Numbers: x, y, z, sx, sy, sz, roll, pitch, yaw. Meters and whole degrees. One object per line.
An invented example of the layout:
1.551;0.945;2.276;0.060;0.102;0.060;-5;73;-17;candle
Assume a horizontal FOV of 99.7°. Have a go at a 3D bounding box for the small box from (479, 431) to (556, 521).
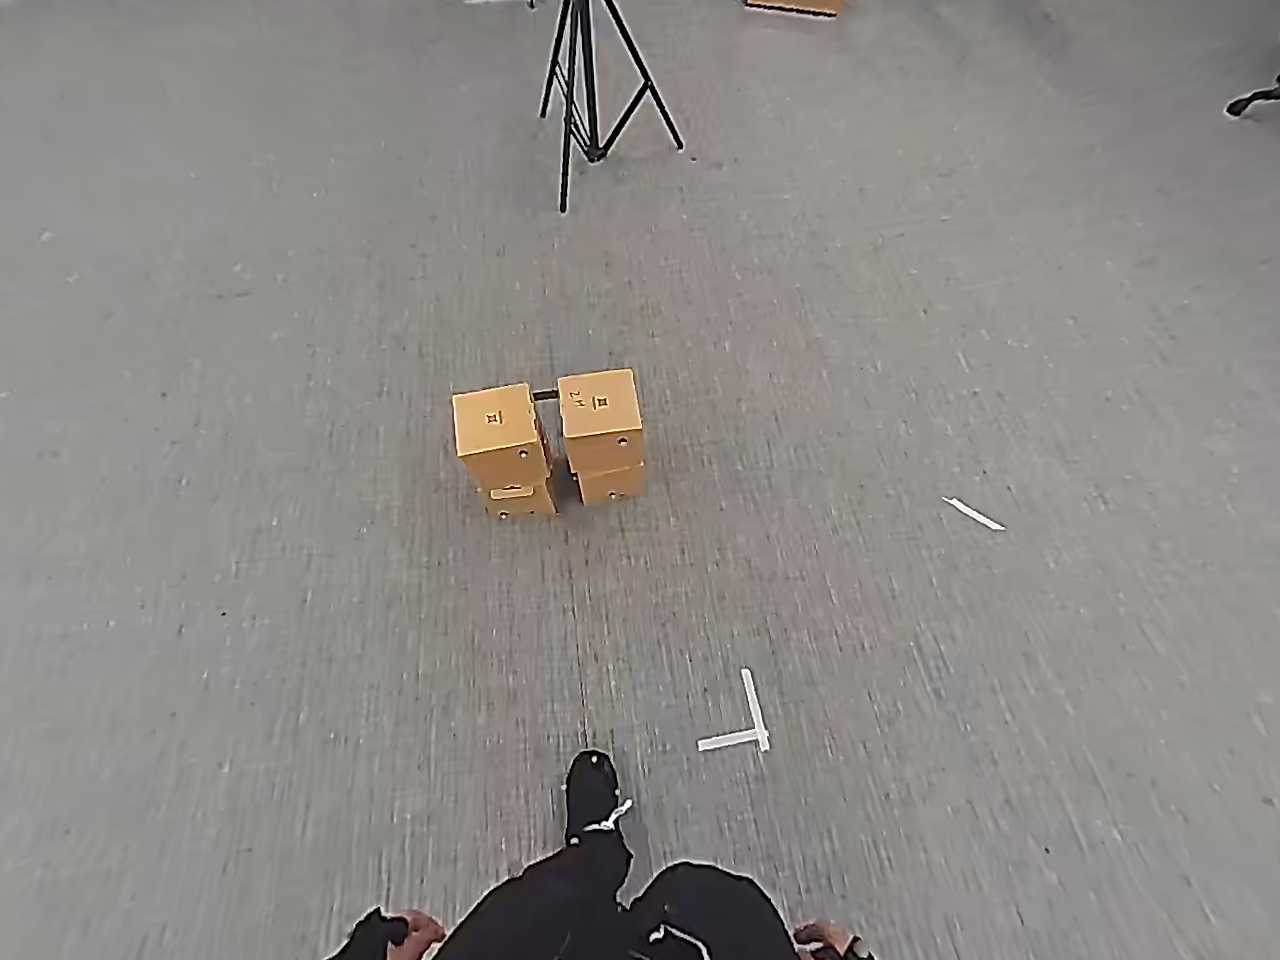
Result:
-0.311;-0.003;1.403;0.168;0.176;0.179;-6;62;-3;small box
